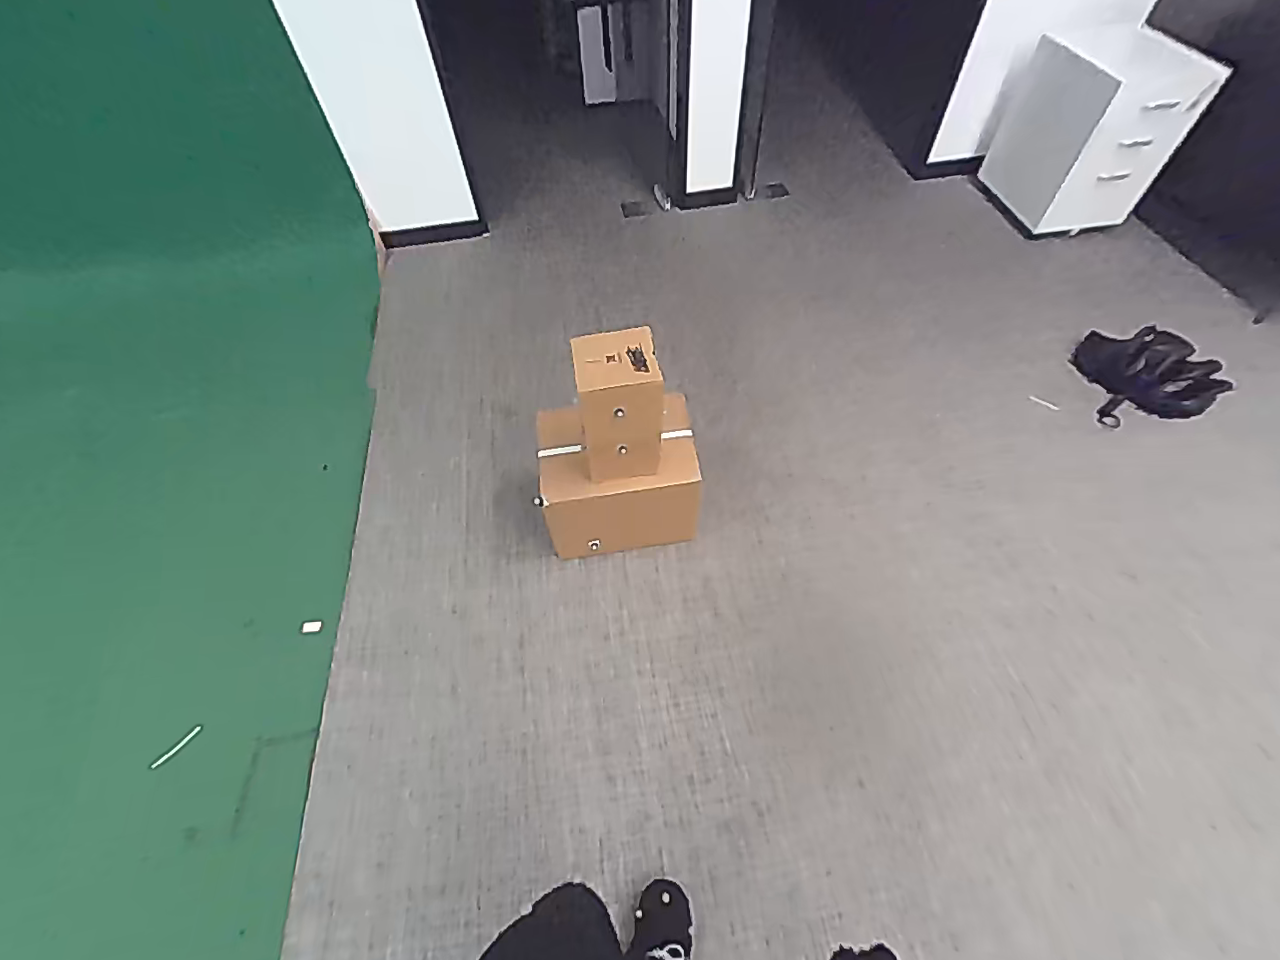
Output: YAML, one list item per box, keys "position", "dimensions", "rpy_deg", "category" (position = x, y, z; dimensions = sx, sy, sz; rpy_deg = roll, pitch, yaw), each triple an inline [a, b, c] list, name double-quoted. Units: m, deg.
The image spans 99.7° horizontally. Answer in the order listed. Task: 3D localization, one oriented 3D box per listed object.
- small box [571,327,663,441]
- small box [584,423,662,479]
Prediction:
- position: [-0.048, -0.207, 1.192]
  dimensions: [0.179, 0.176, 0.168]
  rpy_deg: [-10, 57, -2]
  category: "small box"
- position: [-0.044, -0.118, 1.331]
  dimensions: [0.179, 0.176, 0.168]
  rpy_deg: [-9, 57, -4]
  category: "small box"
